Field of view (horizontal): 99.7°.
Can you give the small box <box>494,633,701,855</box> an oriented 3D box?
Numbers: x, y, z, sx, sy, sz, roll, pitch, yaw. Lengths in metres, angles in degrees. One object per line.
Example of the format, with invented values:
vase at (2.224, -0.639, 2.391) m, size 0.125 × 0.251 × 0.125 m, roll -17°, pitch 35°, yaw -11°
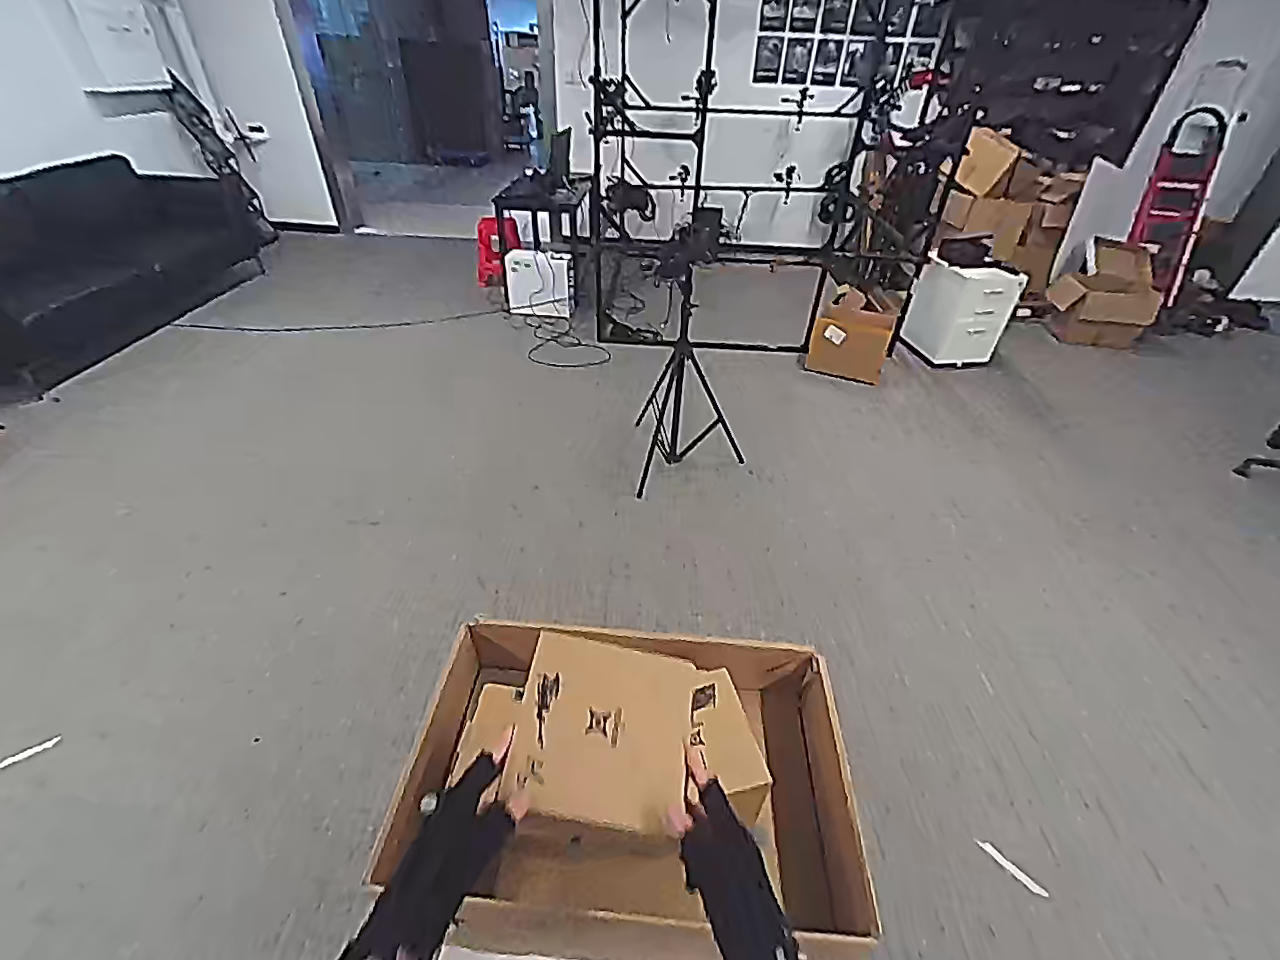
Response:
small box at (-0.048, 0.291, 0.585) m, size 0.179 × 0.176 × 0.168 m, roll 15°, pitch 50°, yaw -4°
